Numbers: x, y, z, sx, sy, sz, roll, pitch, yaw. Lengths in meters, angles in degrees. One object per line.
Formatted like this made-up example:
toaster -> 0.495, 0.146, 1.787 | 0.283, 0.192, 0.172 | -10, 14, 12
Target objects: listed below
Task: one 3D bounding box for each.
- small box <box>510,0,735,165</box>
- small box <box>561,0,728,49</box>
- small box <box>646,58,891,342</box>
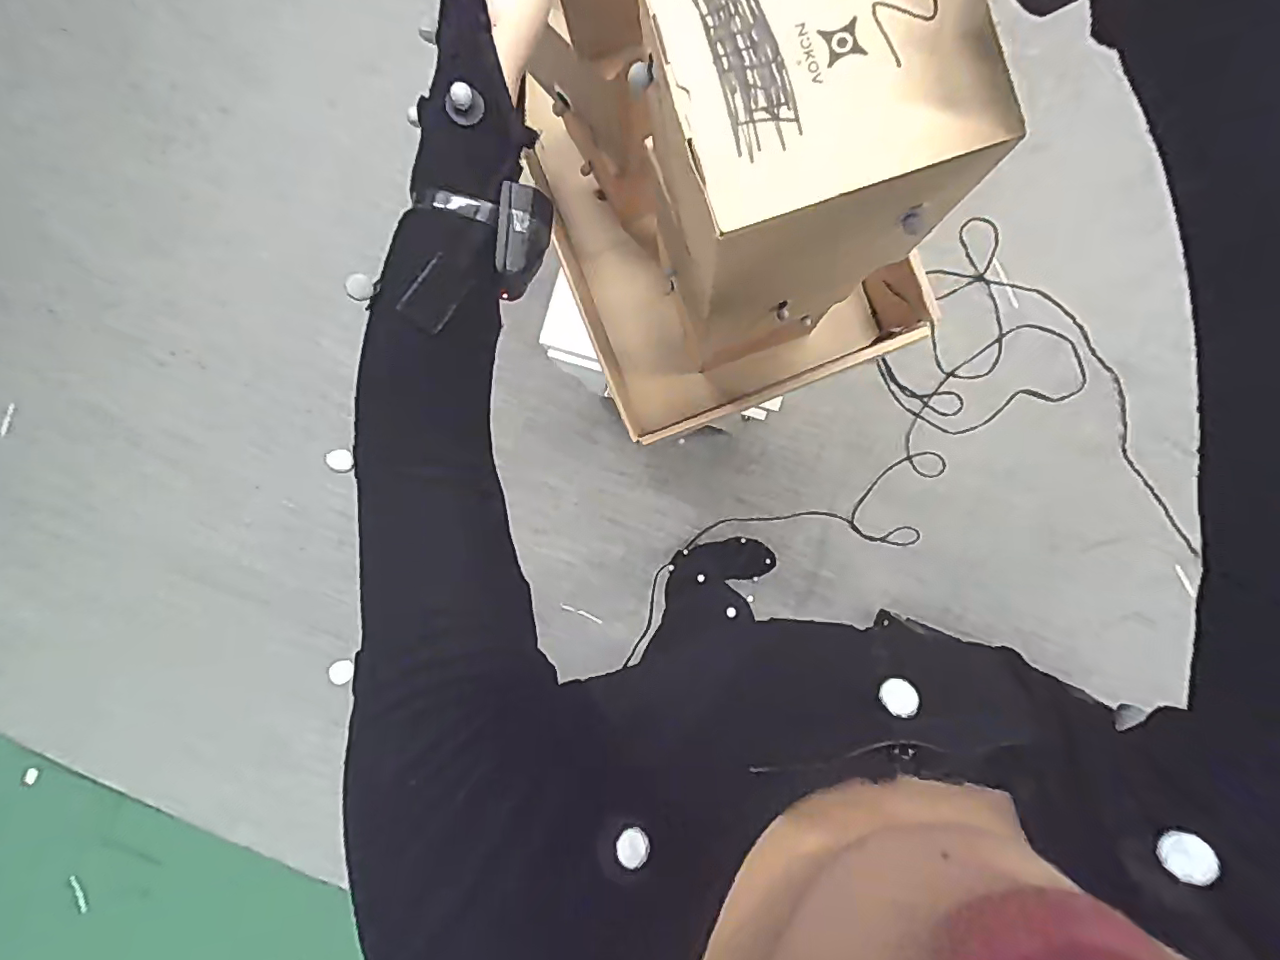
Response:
small box -> -0.017, -0.481, 0.558 | 0.168, 0.176, 0.179 | 44, 97, 2
small box -> 0.000, -0.474, 0.392 | 0.179, 0.176, 0.168 | -16, 91, 5
small box -> 0.118, -0.261, 0.551 | 0.179, 0.176, 0.168 | -19, 88, 6
